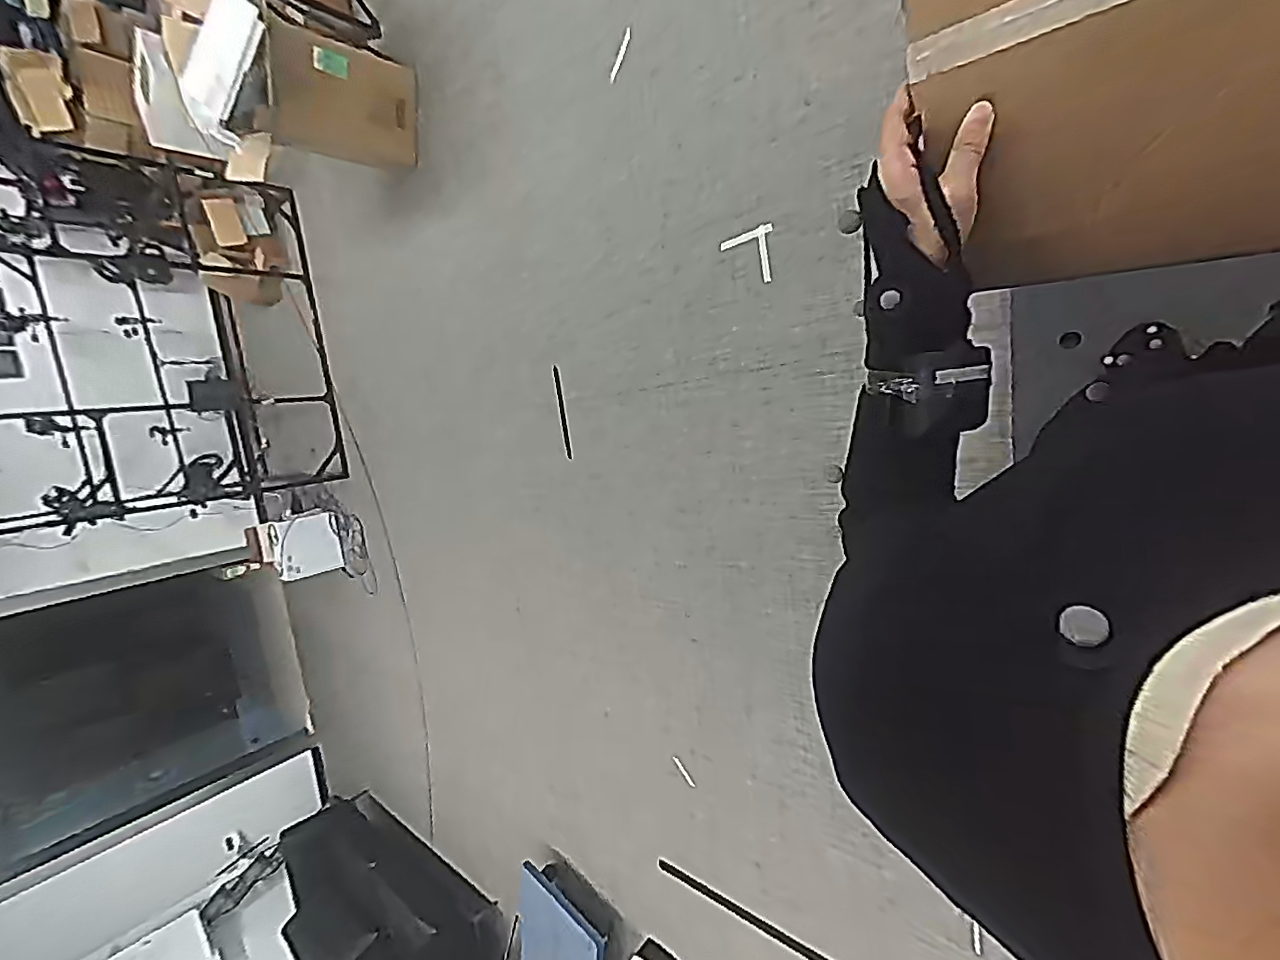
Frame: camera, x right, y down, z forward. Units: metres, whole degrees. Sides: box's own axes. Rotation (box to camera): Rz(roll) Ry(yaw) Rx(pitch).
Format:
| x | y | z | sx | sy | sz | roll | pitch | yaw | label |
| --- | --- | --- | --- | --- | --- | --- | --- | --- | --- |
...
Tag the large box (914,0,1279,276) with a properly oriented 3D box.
| x | y | z | sx | sy | sz | roll | pitch | yaw | label |
| --- | --- | --- | --- | --- | --- | --- | --- | --- | --- |
| 0.405 | -0.353 | 0.293 | 0.408 | 0.320 | 0.320 | 5 | 131 | 43 | large box |
